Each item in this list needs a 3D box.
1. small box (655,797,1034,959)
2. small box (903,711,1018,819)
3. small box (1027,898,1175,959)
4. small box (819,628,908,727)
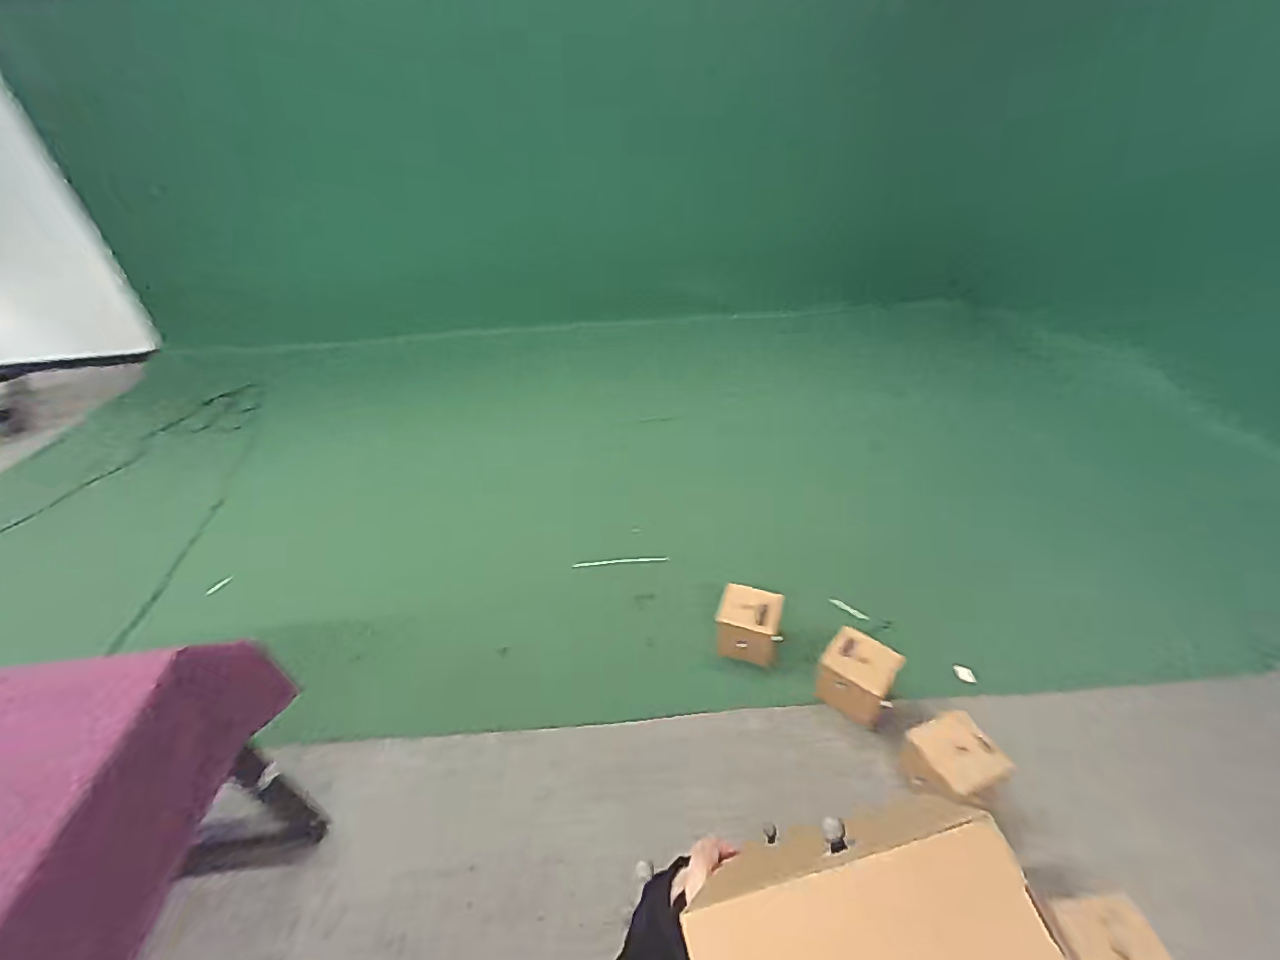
[{"bbox_3d":[0.129,0.306,0.320,0.179,0.176,0.168,-22,60,3],"label":"small box"},{"bbox_3d":[0.790,0.725,1.357,0.179,0.176,0.168,-16,38,-14],"label":"small box"},{"bbox_3d":[0.906,0.947,1.047,0.168,0.176,0.179,-5,37,-2],"label":"small box"},{"bbox_3d":[0.642,0.575,1.570,0.179,0.176,0.168,28,47,34],"label":"small box"}]
